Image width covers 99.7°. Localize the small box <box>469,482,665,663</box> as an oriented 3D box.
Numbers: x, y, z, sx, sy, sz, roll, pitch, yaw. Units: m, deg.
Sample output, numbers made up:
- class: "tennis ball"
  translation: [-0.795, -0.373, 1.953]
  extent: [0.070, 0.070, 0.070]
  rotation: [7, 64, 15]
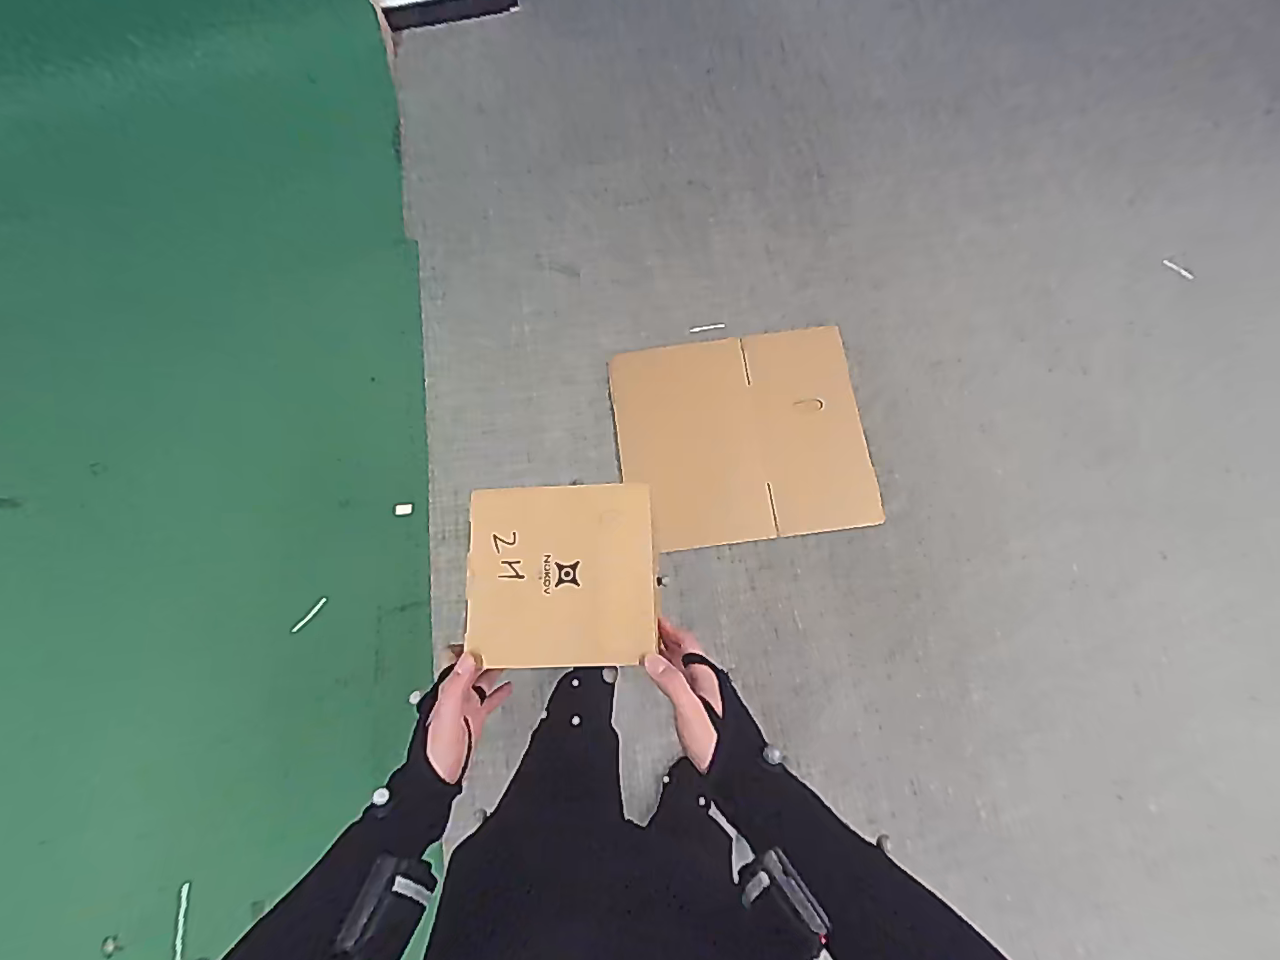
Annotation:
- class: "small box"
  translation: [-0.062, 0.100, 0.575]
  extent: [0.179, 0.176, 0.168]
  rotation: [-2, 77, 5]
